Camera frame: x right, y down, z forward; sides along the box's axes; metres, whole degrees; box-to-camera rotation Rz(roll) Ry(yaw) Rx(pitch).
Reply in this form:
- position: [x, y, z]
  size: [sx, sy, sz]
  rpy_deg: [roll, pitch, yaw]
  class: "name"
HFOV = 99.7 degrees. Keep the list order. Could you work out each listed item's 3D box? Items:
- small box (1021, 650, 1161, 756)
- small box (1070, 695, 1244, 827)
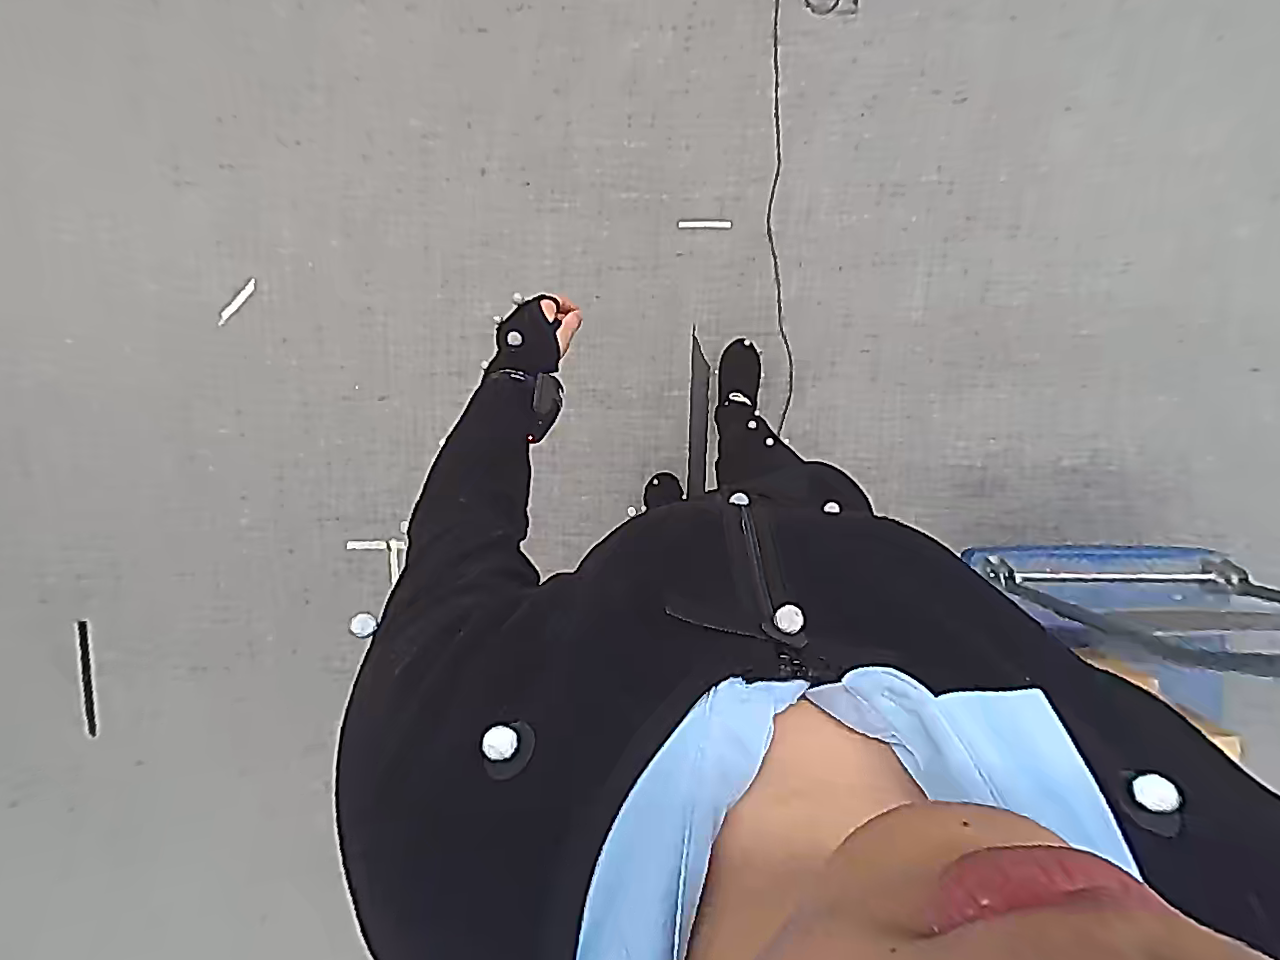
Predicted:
- position: [0.987, 0.487, 1.196]
  size: [0.179, 0.176, 0.168]
  rpy_deg: [-4, 94, 5]
  class: "small box"
- position: [0.976, 0.527, 1.034]
  size: [0.179, 0.176, 0.168]
  rpy_deg: [-3, 94, 5]
  class: "small box"
